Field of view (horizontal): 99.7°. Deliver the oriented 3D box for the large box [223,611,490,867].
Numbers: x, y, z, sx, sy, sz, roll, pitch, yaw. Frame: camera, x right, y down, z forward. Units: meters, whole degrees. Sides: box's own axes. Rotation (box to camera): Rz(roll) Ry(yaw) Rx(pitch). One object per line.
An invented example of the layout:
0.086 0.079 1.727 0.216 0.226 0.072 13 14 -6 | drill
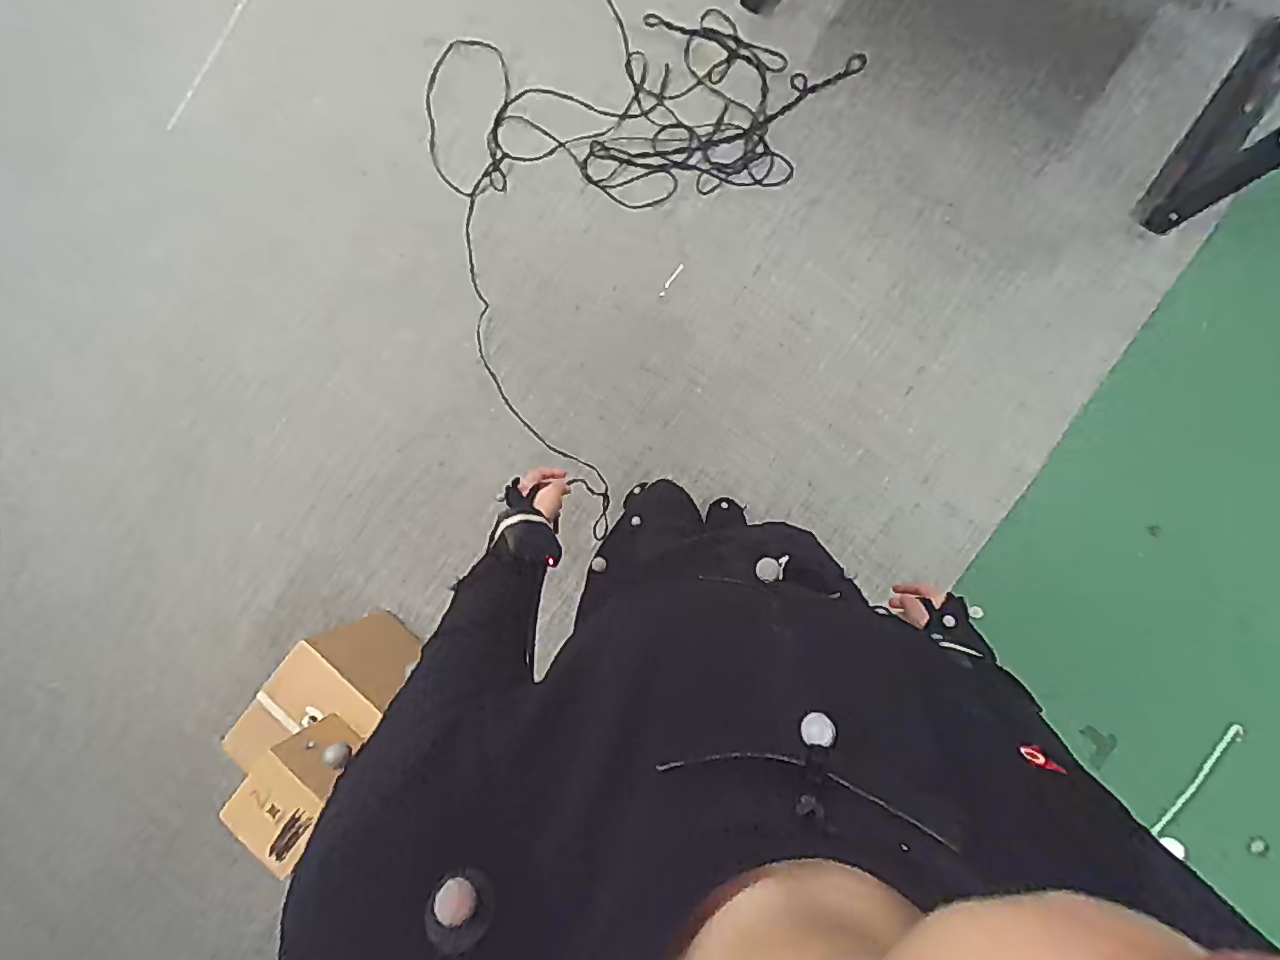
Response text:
-0.648 0.583 1.296 0.408 0.320 0.320 39 92 8 | large box
